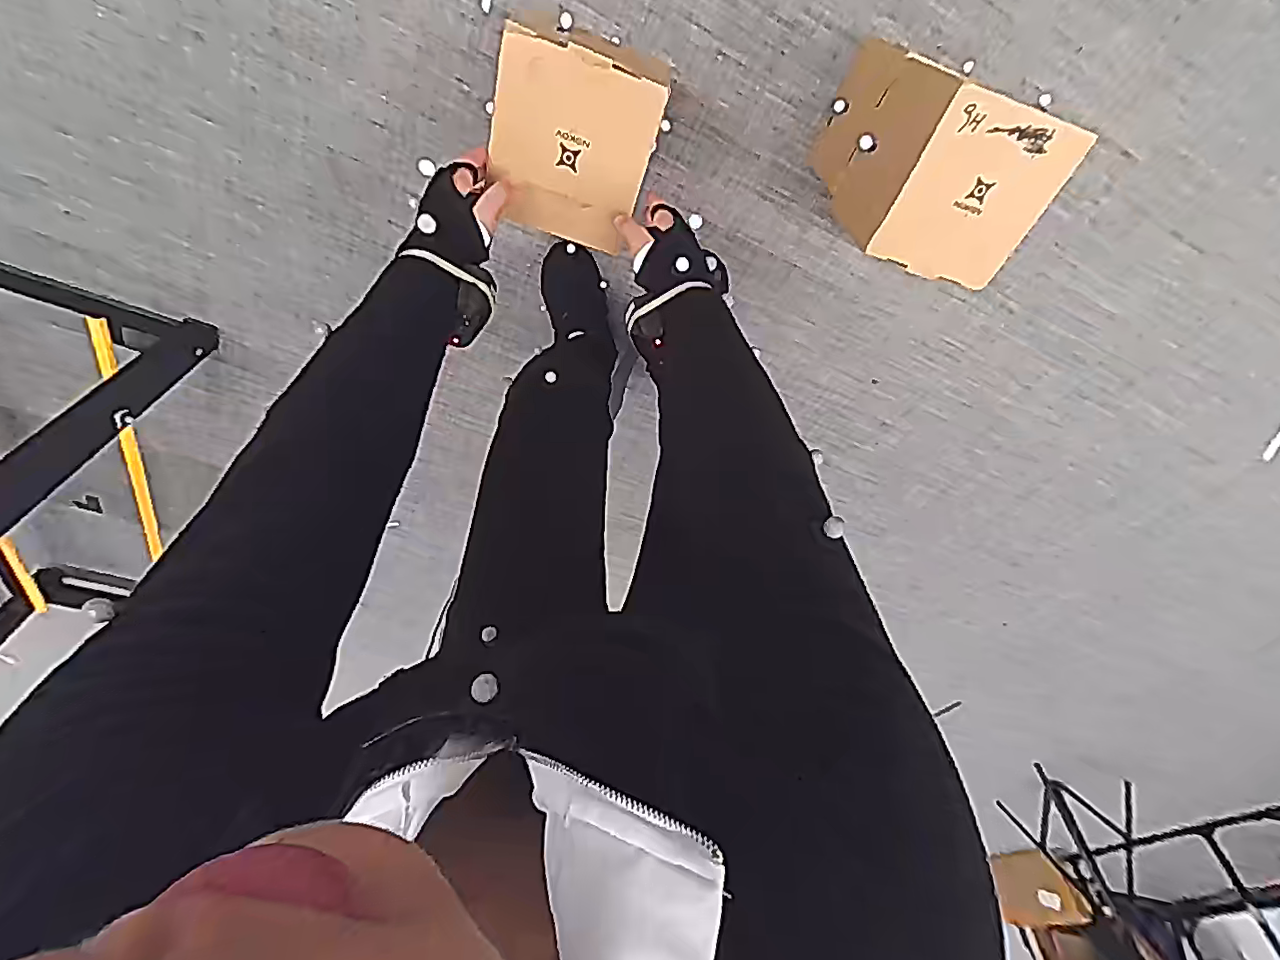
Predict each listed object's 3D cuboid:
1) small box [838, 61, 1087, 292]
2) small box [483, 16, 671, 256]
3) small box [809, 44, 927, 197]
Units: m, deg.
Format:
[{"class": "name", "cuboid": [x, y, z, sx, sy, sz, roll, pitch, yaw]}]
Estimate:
[{"class": "small box", "cuboid": [0.361, -0.365, 0.652, 0.168, 0.176, 0.179, 13, 133, -11]}, {"class": "small box", "cuboid": [-0.071, -0.399, 0.627, 0.168, 0.176, 0.179, 15, 133, -11]}, {"class": "small box", "cuboid": [0.369, -0.483, 0.765, 0.179, 0.176, 0.168, 14, 132, -12]}]
